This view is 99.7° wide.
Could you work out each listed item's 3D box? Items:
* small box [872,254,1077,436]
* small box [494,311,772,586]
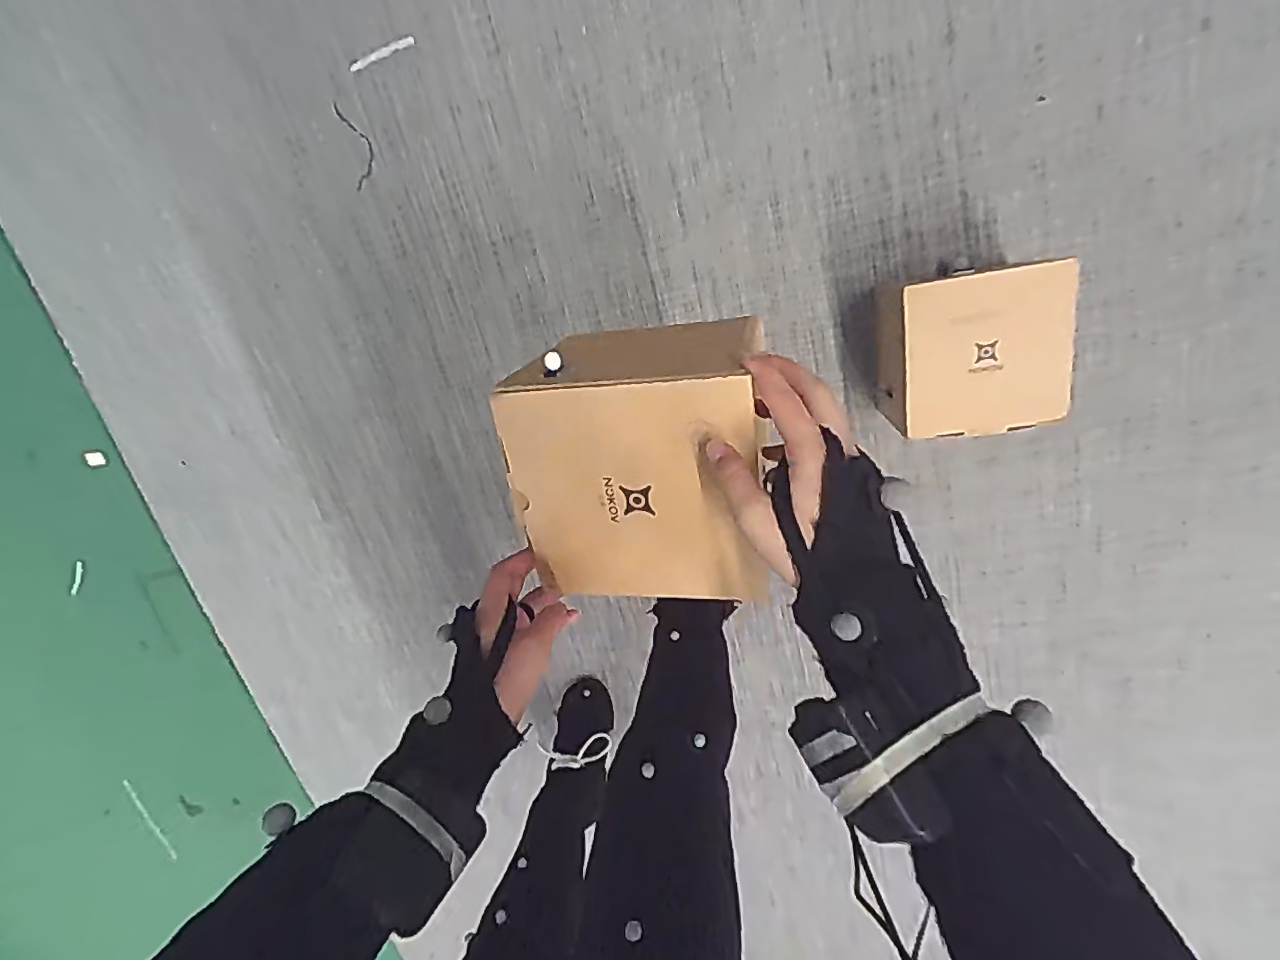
[{"bbox_3d":[0.389,-0.166,0.660,0.168,0.176,0.179,-6,107,13],"label":"small box"},{"bbox_3d":[0.015,-0.033,0.438,0.179,0.176,0.168,-2,117,16],"label":"small box"}]
